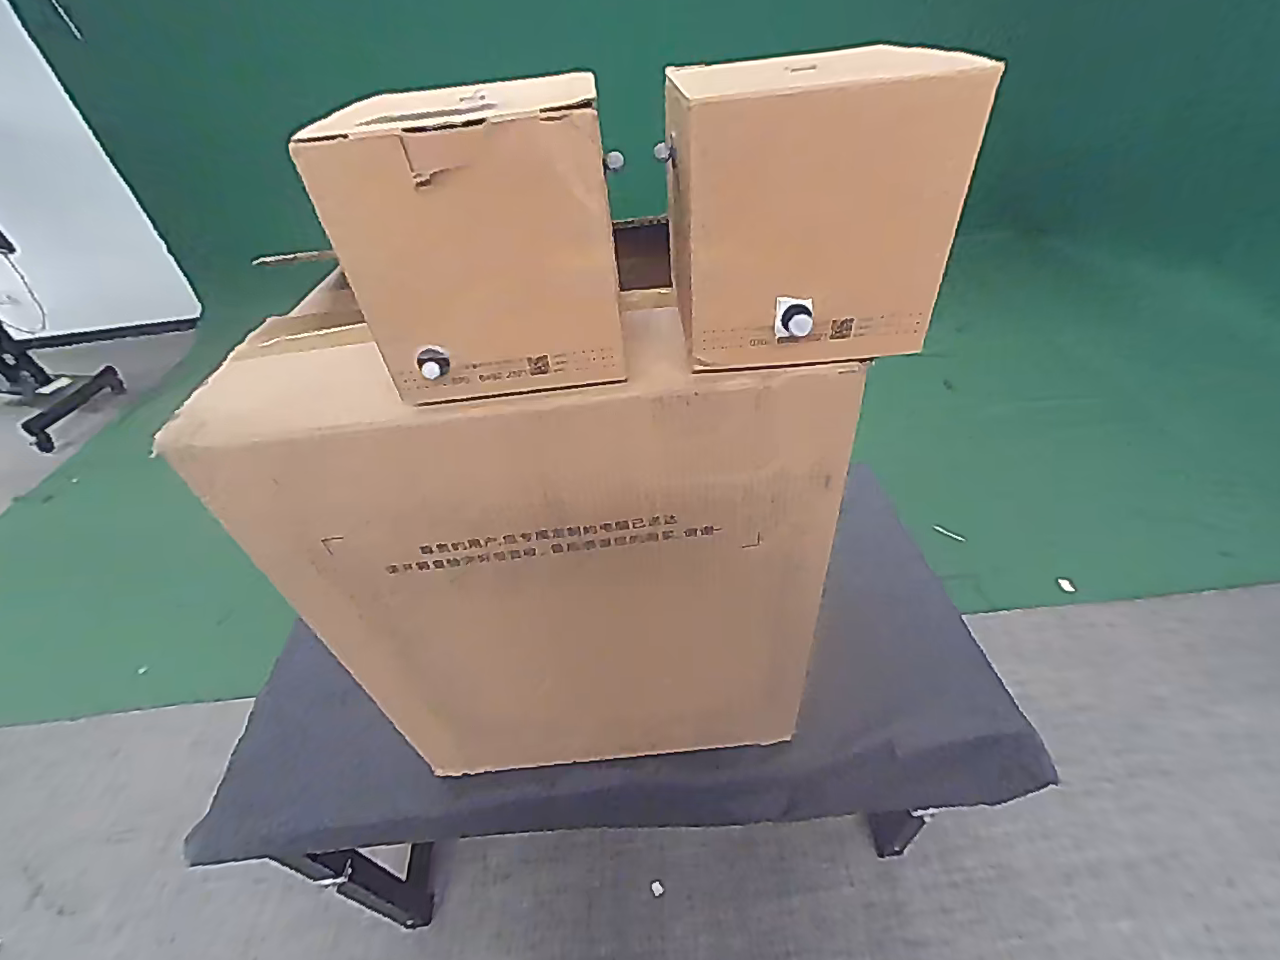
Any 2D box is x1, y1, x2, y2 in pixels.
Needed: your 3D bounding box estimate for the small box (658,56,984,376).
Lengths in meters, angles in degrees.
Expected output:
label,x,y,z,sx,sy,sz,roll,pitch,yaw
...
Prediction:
label,x,y,z,sx,sy,sz,roll,pitch,yaw
small box,0.106,-0.199,0.405,0.168,0.176,0.179,-8,42,0
